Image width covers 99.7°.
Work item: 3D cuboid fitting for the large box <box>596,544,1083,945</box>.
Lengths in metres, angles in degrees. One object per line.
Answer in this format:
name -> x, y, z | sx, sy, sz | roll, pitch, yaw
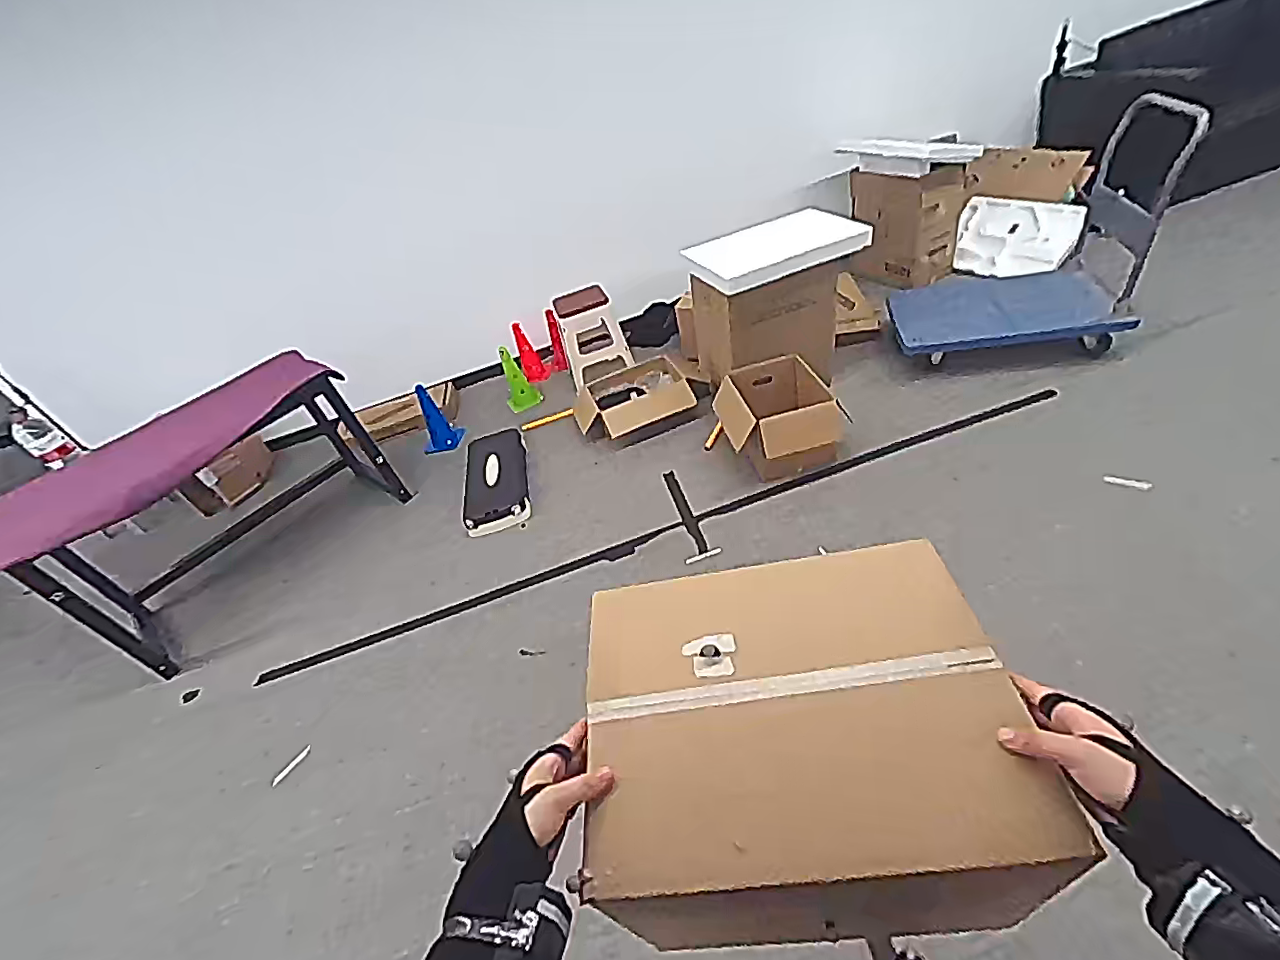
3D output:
large box -> 0.183, 0.323, 0.649 | 0.408, 0.320, 0.320 | -12, 41, 7
